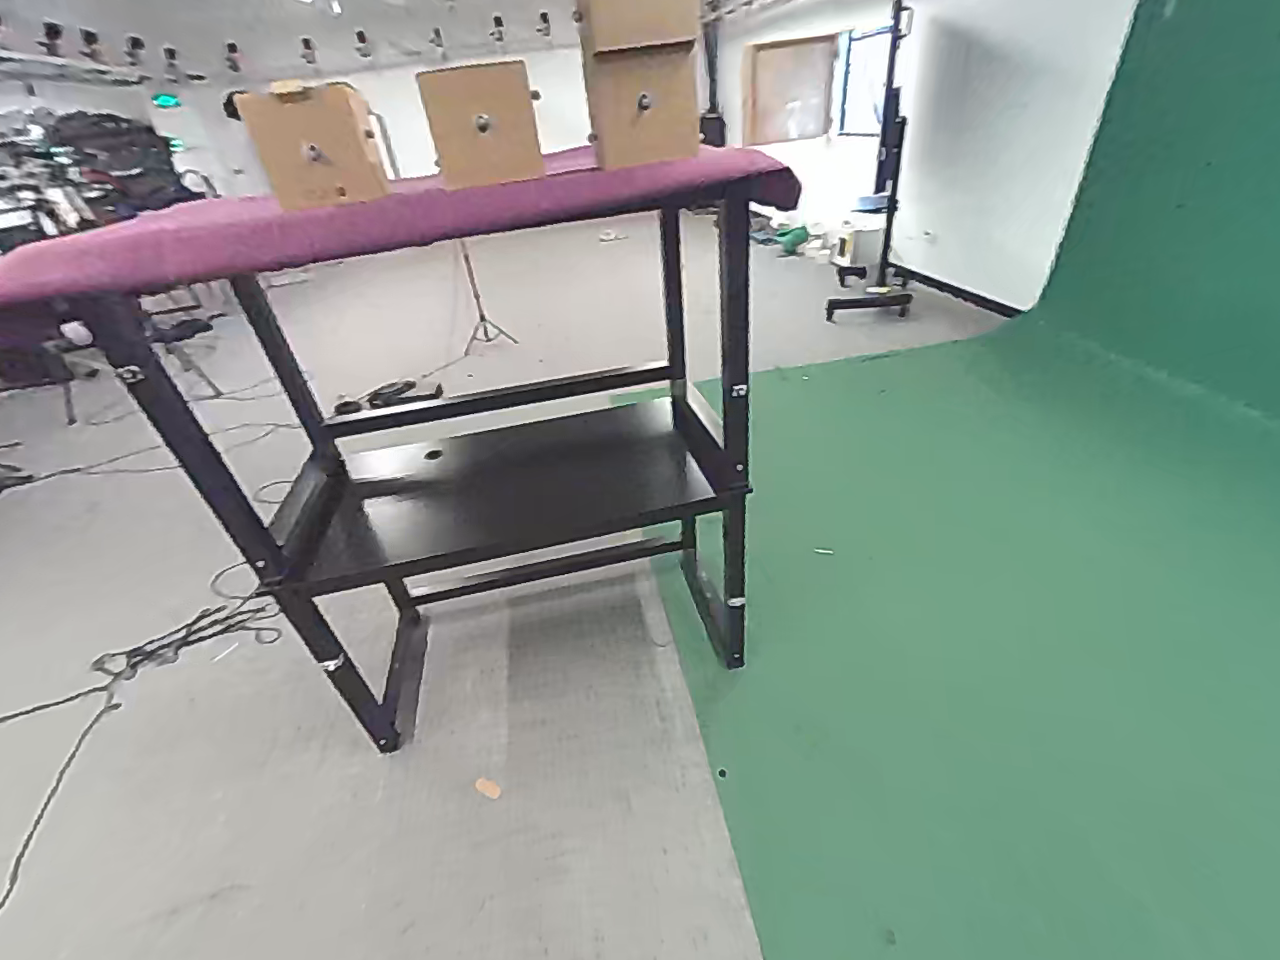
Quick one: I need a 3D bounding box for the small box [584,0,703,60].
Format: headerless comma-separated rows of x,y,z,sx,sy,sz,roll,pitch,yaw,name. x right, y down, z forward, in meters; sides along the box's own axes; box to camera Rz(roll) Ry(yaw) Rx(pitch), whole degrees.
0.000,-0.797,0.878,0.179,0.176,0.168,-11,34,-5,small box

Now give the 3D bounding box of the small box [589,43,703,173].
0.012,-0.674,0.987,0.179,0.176,0.168,-12,34,-4,small box

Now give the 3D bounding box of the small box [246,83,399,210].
-0.543,-0.584,0.956,0.168,0.176,0.179,-13,34,-9,small box
